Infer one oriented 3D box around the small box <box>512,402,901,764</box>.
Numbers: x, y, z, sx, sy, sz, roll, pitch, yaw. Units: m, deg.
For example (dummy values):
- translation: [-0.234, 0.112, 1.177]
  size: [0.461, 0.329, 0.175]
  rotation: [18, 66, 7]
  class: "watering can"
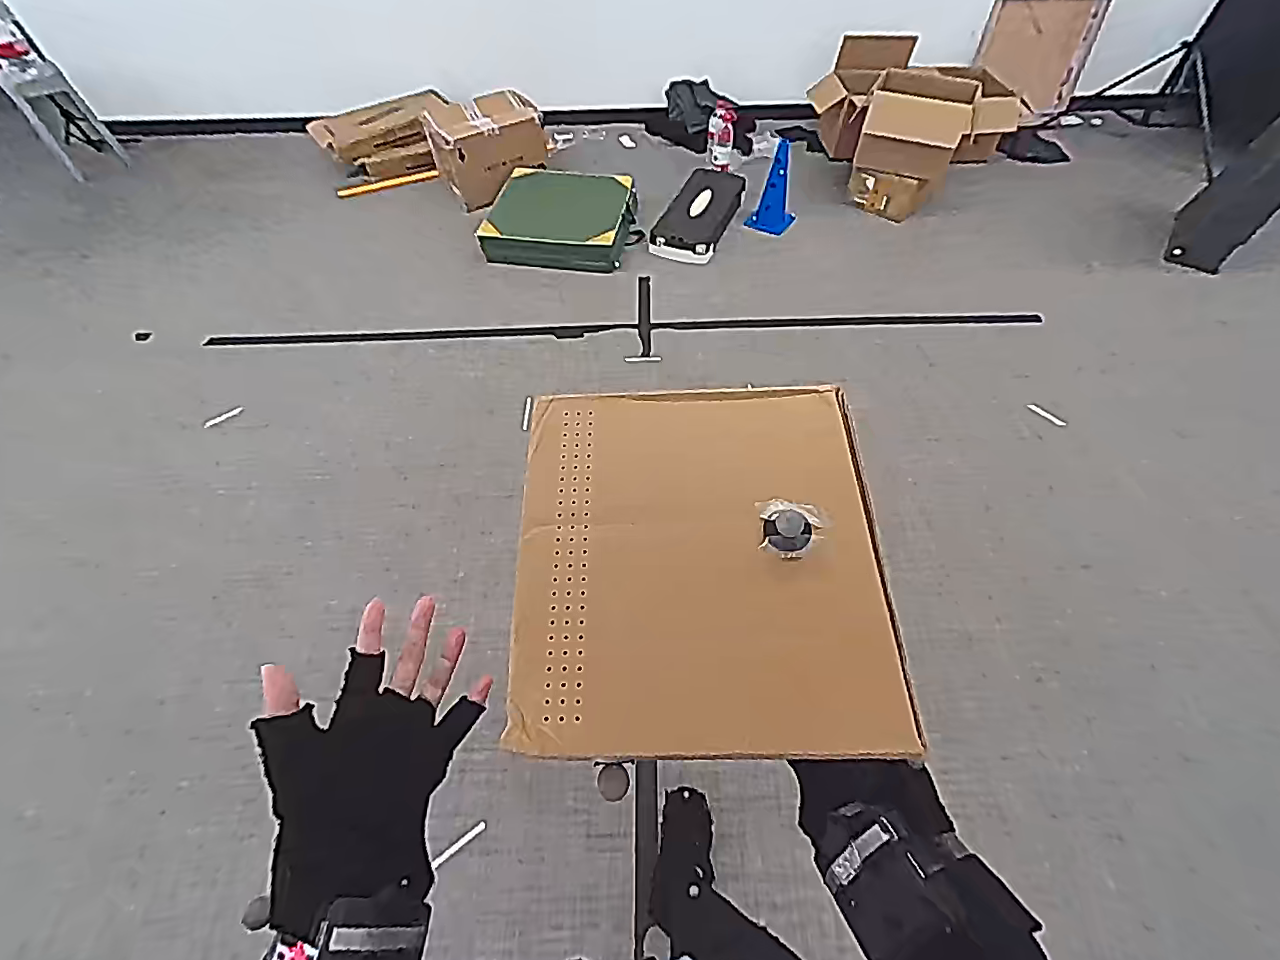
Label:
- translation: [0.027, 0.072, 0.331]
  size: [0.176, 0.168, 0.179]
  rotation: [-3, 62, 4]
  class: "small box"
